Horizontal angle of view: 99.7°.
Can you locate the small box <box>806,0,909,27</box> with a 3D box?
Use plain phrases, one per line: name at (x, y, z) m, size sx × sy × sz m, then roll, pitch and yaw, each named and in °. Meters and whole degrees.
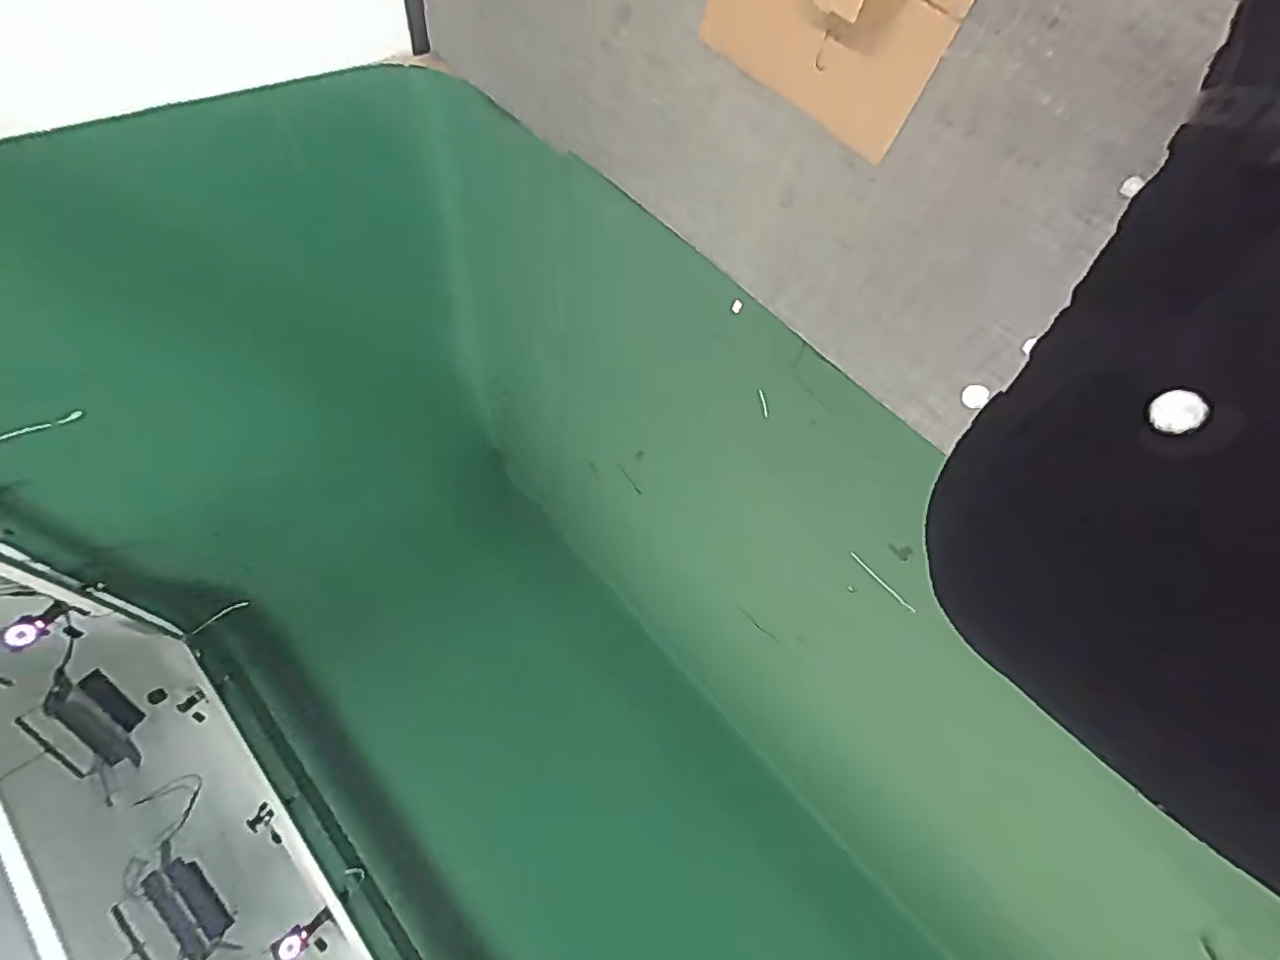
small box at (0.438, -1.009, 1.023) m, size 0.168 × 0.176 × 0.179 m, roll 46°, pitch 154°, yaw 19°
